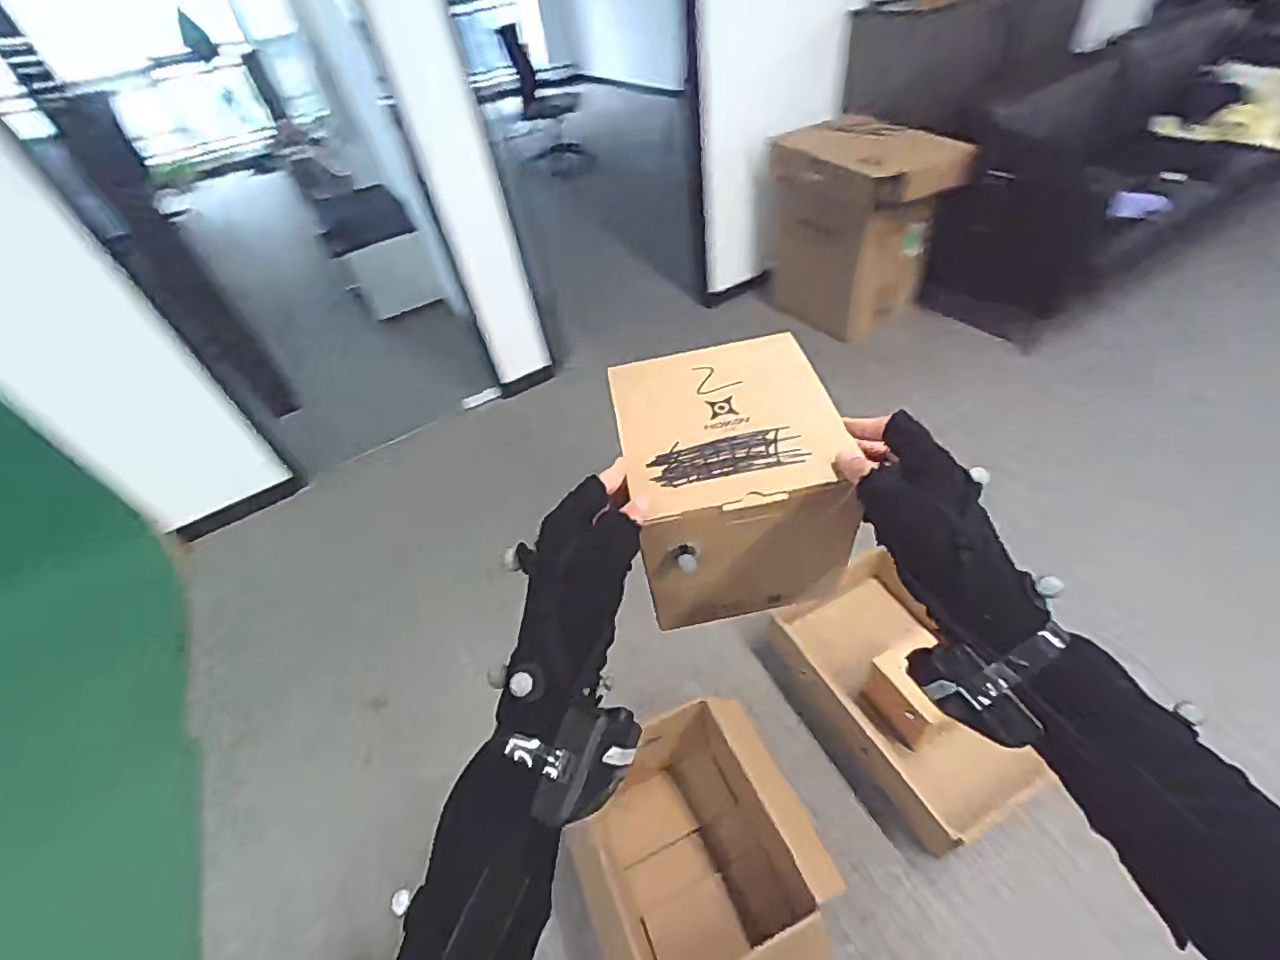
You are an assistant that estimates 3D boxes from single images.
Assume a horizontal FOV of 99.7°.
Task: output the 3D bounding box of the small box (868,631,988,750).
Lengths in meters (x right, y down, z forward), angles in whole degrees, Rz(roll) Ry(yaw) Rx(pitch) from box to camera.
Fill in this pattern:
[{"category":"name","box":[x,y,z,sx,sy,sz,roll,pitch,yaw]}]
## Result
[{"category":"small box","box":[0.676,0.505,1.293,0.168,0.176,0.179,-25,46,-14]}]
